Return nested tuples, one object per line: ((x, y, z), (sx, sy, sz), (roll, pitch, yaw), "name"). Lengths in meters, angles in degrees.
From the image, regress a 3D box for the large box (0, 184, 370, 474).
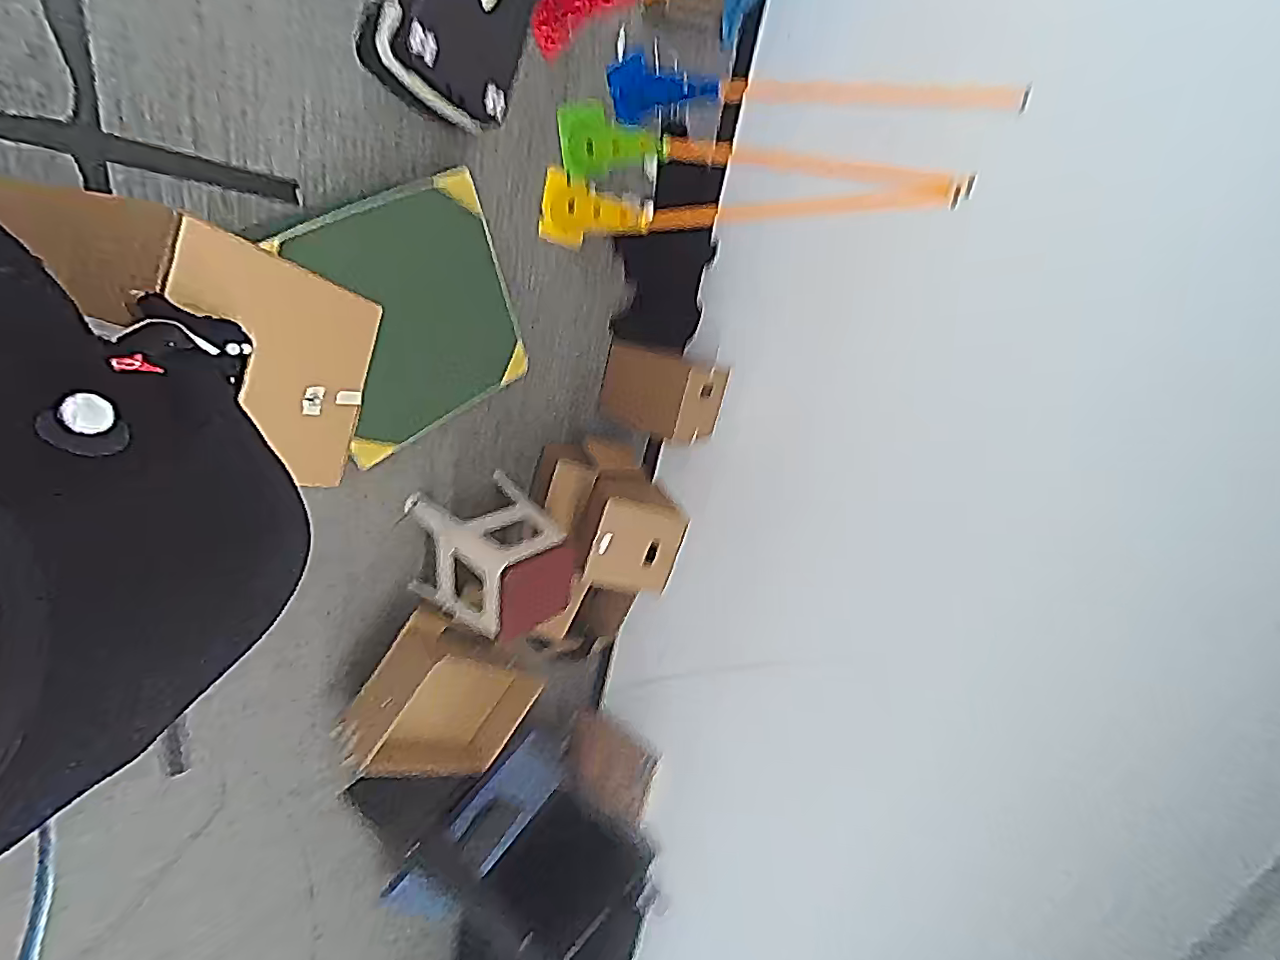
((-0.696, -0.201, 0.809), (0.320, 0.408, 0.320), (7, 98, -74), "large box")
